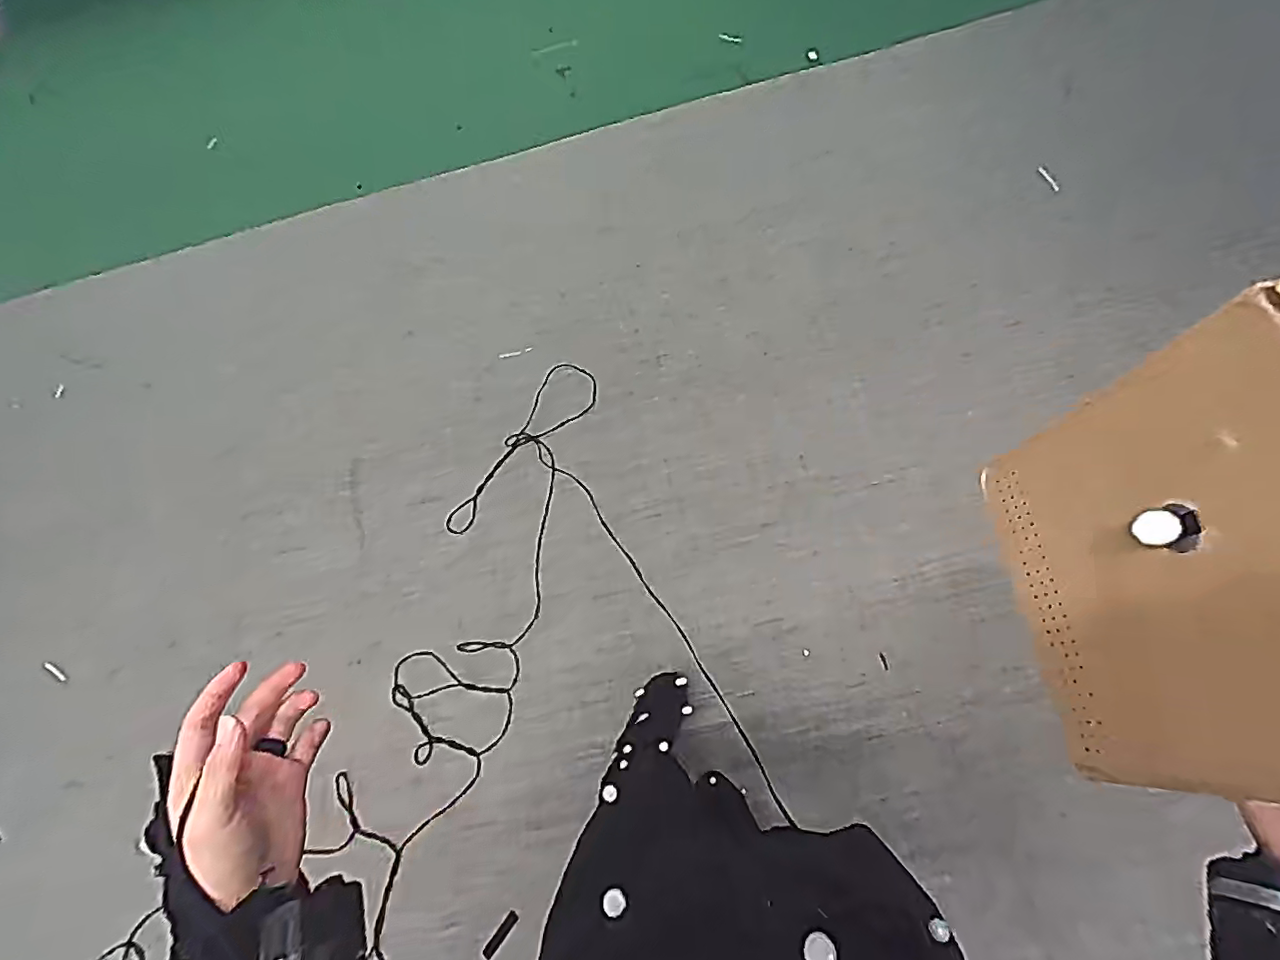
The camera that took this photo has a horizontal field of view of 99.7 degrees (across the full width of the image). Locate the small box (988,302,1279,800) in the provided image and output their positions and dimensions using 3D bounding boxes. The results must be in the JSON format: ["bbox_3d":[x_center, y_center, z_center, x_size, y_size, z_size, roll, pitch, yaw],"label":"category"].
[{"bbox_3d":[0.306,0.043,0.248,0.168,0.176,0.179,-2,65,-5],"label":"small box"}]
